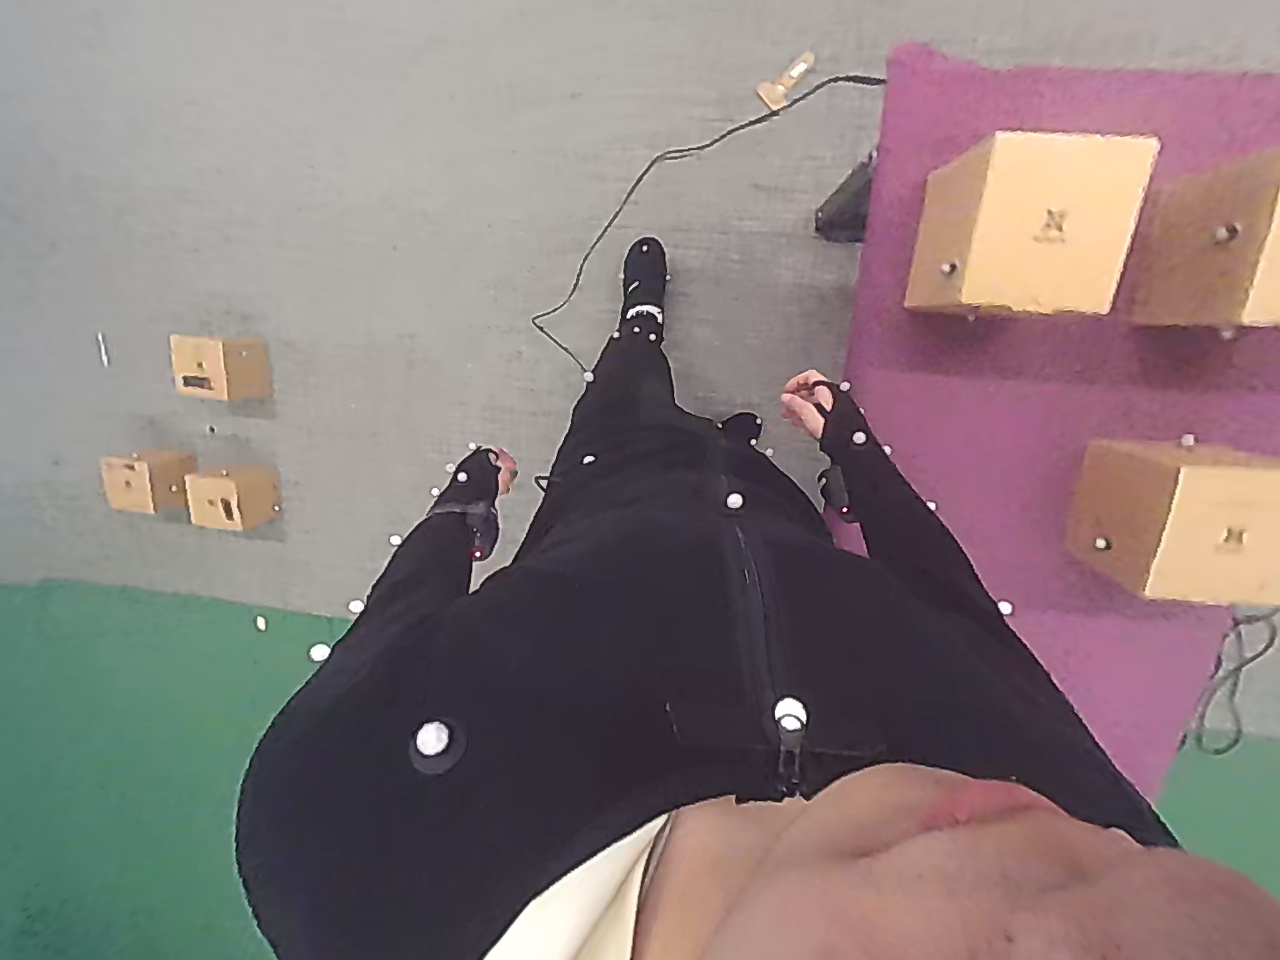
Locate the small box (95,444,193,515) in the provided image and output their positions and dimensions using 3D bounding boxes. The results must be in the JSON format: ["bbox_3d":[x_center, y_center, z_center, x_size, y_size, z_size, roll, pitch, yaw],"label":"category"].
[{"bbox_3d":[-1.593,-0.005,1.753,0.168,0.176,0.179,9,107,5],"label":"small box"}]

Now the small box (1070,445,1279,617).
[{"bbox_3d":[0.729,0.059,0.727,0.168,0.176,0.179,4,105,6],"label":"small box"}]

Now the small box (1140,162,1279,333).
[{"bbox_3d":[0.746,-0.265,0.632,0.168,0.176,0.179,2,106,7],"label":"small box"}]

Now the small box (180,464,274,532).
[{"bbox_3d":[-1.309,0.052,1.731,0.179,0.176,0.168,7,106,5],"label":"small box"}]

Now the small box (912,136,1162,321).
[{"bbox_3d":[0.458,-0.292,0.661,0.168,0.176,0.179,5,107,4],"label":"small box"}]
